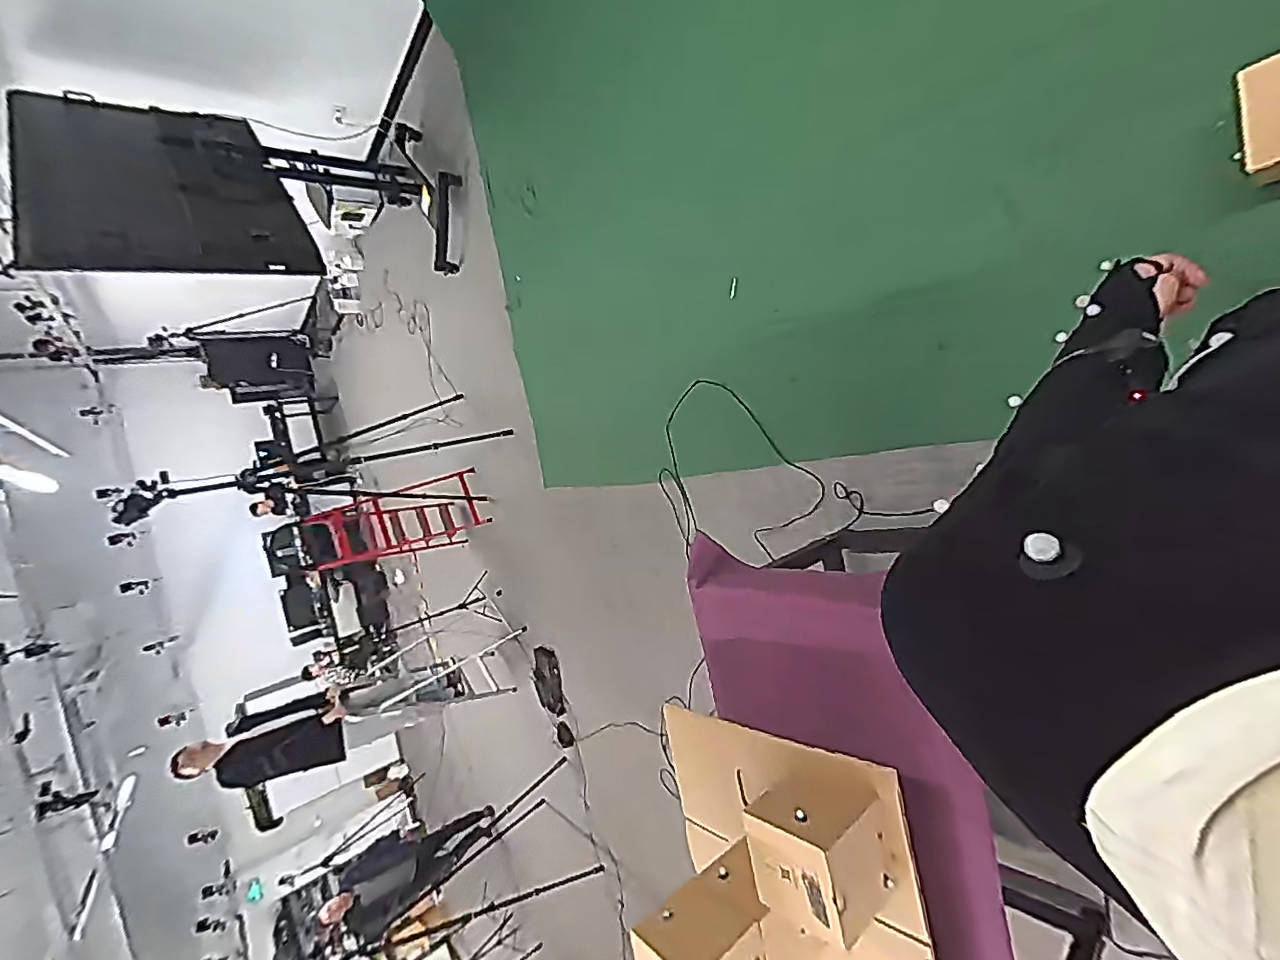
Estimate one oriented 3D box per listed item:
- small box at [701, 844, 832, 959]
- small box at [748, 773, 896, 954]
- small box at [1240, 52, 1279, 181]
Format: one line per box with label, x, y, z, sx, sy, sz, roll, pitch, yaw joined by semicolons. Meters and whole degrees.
small box;0.251;0.869;1.080;0.179;0.176;0.168;-11;90;51
small box;0.322;0.645;0.941;0.179;0.176;0.168;-12;89;52
small box;1.166;-0.649;0.931;0.168;0.176;0.179;-7;97;52
